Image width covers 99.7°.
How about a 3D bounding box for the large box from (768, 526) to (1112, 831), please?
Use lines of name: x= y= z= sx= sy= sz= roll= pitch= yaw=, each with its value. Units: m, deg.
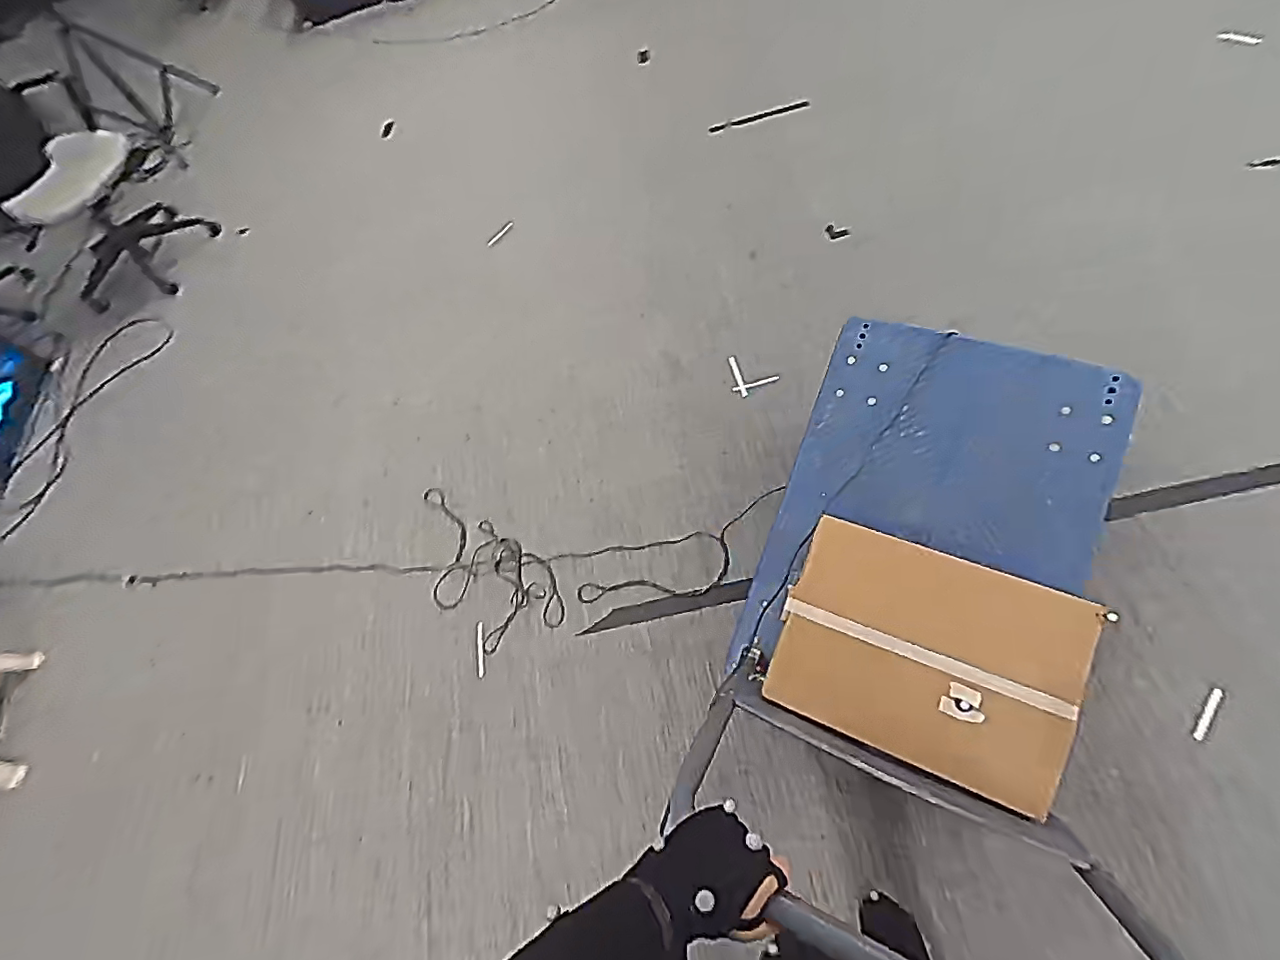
large box: x=0.464 y=0.299 z=0.936 sx=0.408 sy=0.320 sz=0.320 roll=19 pitch=86 yaw=18
